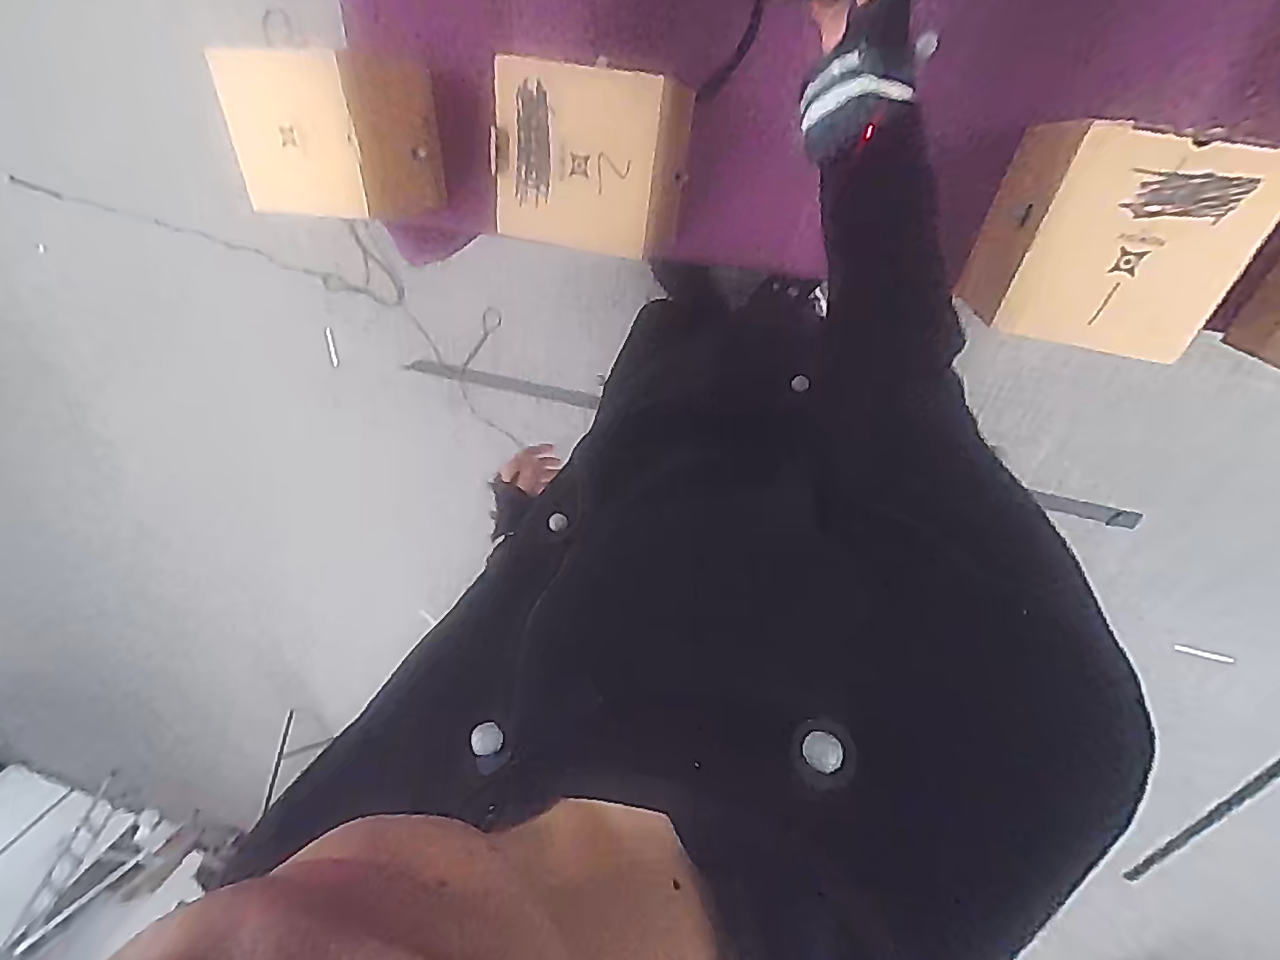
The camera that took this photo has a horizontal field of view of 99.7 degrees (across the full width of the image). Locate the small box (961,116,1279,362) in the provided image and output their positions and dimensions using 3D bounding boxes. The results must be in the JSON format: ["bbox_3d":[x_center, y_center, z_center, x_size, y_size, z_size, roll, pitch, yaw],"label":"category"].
[{"bbox_3d":[0.448,-0.242,0.535,0.168,0.176,0.179,15,125,9],"label":"small box"}]

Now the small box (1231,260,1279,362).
[{"bbox_3d":[0.720,-0.171,0.487,0.168,0.176,0.179,16,124,9],"label":"small box"}]

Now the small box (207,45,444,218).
[{"bbox_3d":[-0.380,-0.436,0.689,0.179,0.176,0.168,9,123,11],"label":"small box"}]
